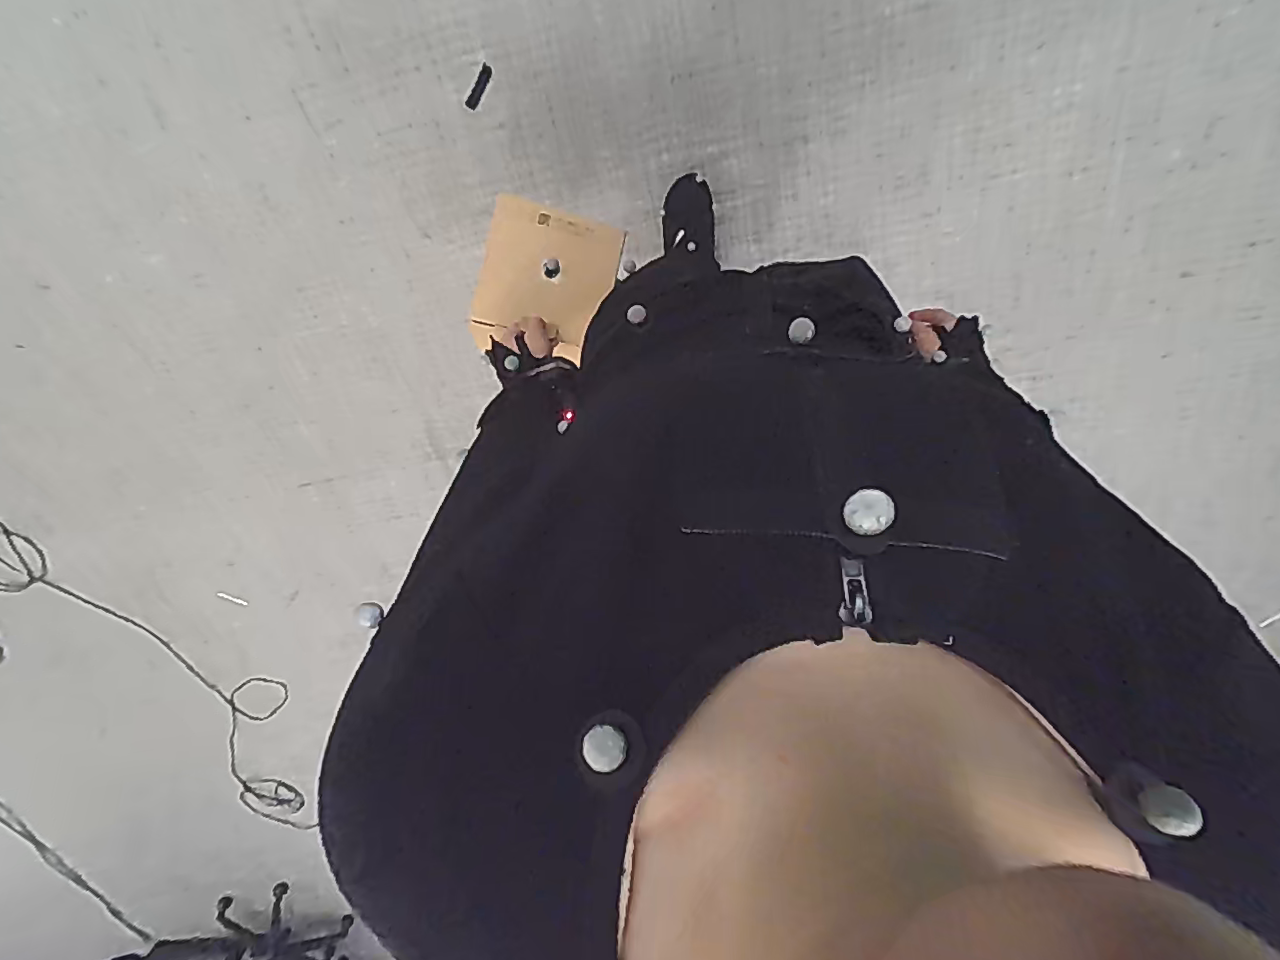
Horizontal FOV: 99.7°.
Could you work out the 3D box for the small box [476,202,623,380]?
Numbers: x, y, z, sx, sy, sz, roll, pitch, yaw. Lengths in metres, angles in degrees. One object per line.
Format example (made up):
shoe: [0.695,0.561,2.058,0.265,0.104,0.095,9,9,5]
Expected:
small box: [-0.128,-0.256,0.763,0.168,0.179,0.176,13,87,-12]
